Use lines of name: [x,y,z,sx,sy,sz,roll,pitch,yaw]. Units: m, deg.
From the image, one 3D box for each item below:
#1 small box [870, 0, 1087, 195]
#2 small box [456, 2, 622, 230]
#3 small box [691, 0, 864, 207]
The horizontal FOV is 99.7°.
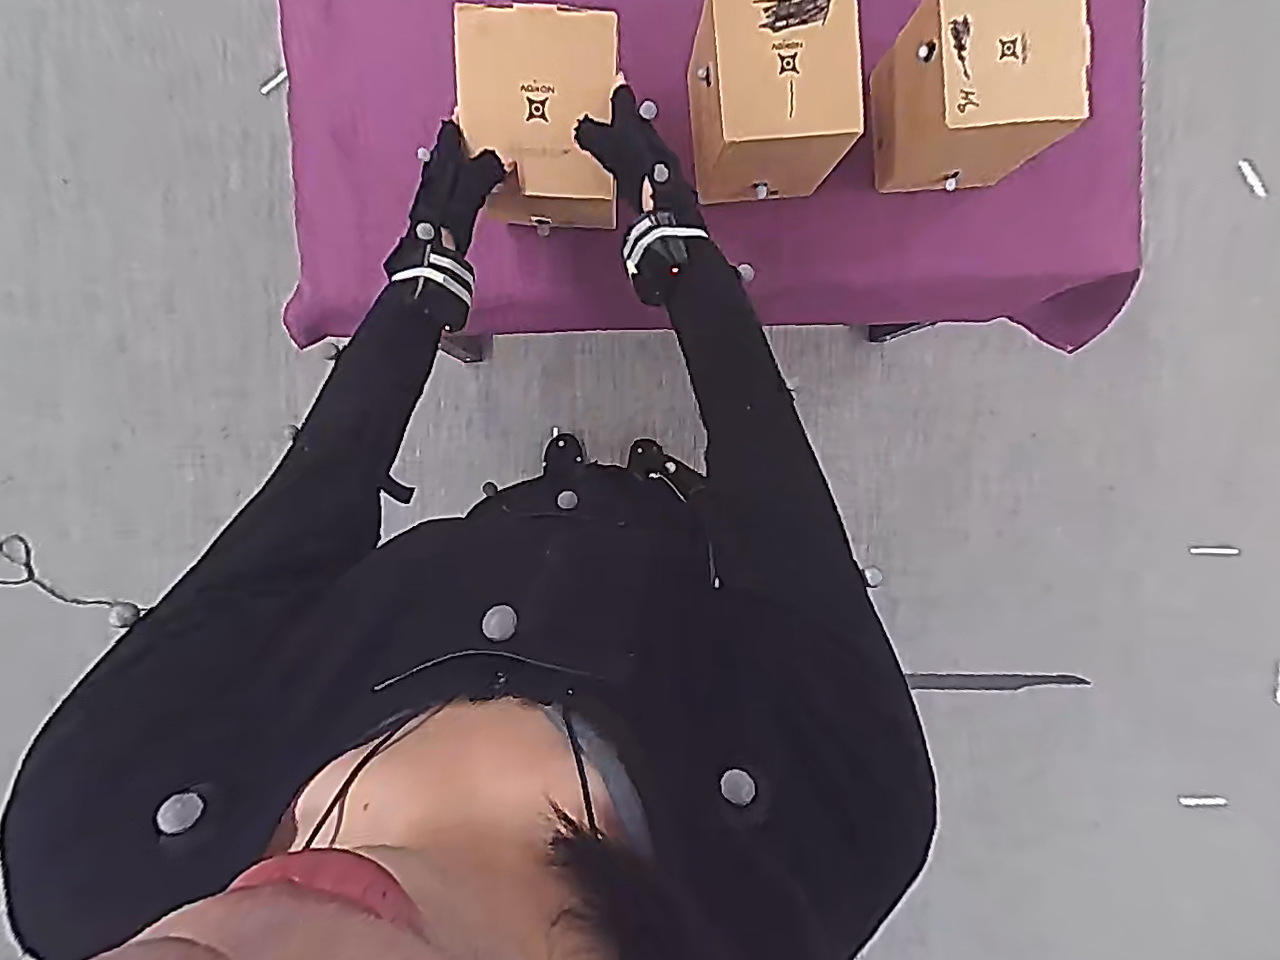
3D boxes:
small box: [0.424,-0.491,0.699,0.179,0.176,0.168,-5,94,-3]
small box: [-0.107,-0.408,0.637,0.168,0.176,0.179,1,105,-1]
small box: [0.161,-0.474,0.683,0.168,0.176,0.179,-6,95,-3]
